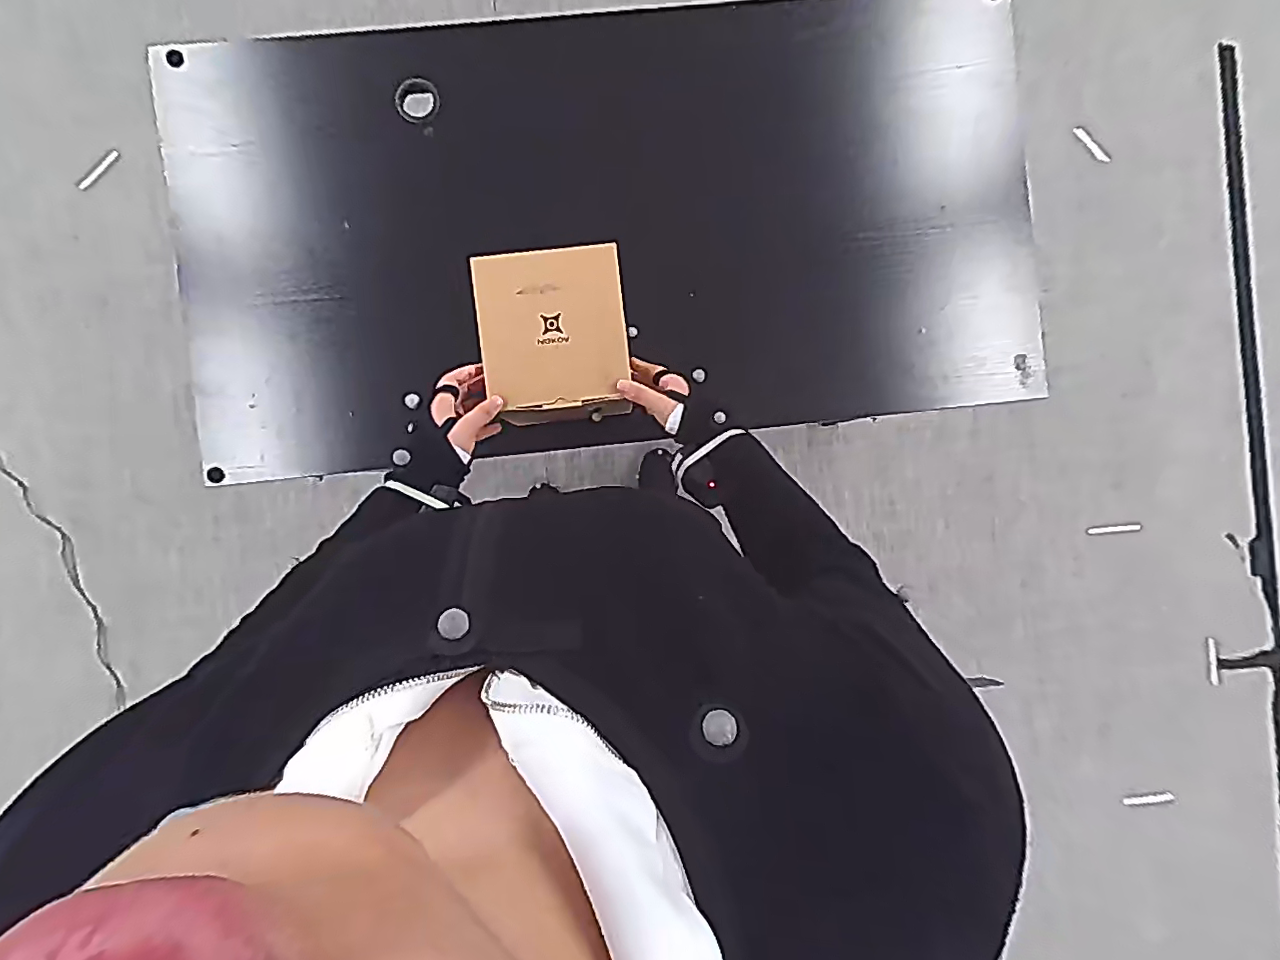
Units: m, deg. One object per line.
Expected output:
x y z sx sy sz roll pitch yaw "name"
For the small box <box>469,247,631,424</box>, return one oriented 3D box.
-0.102 -0.166 0.679 0.168 0.176 0.179 -7 91 -3 "small box"
